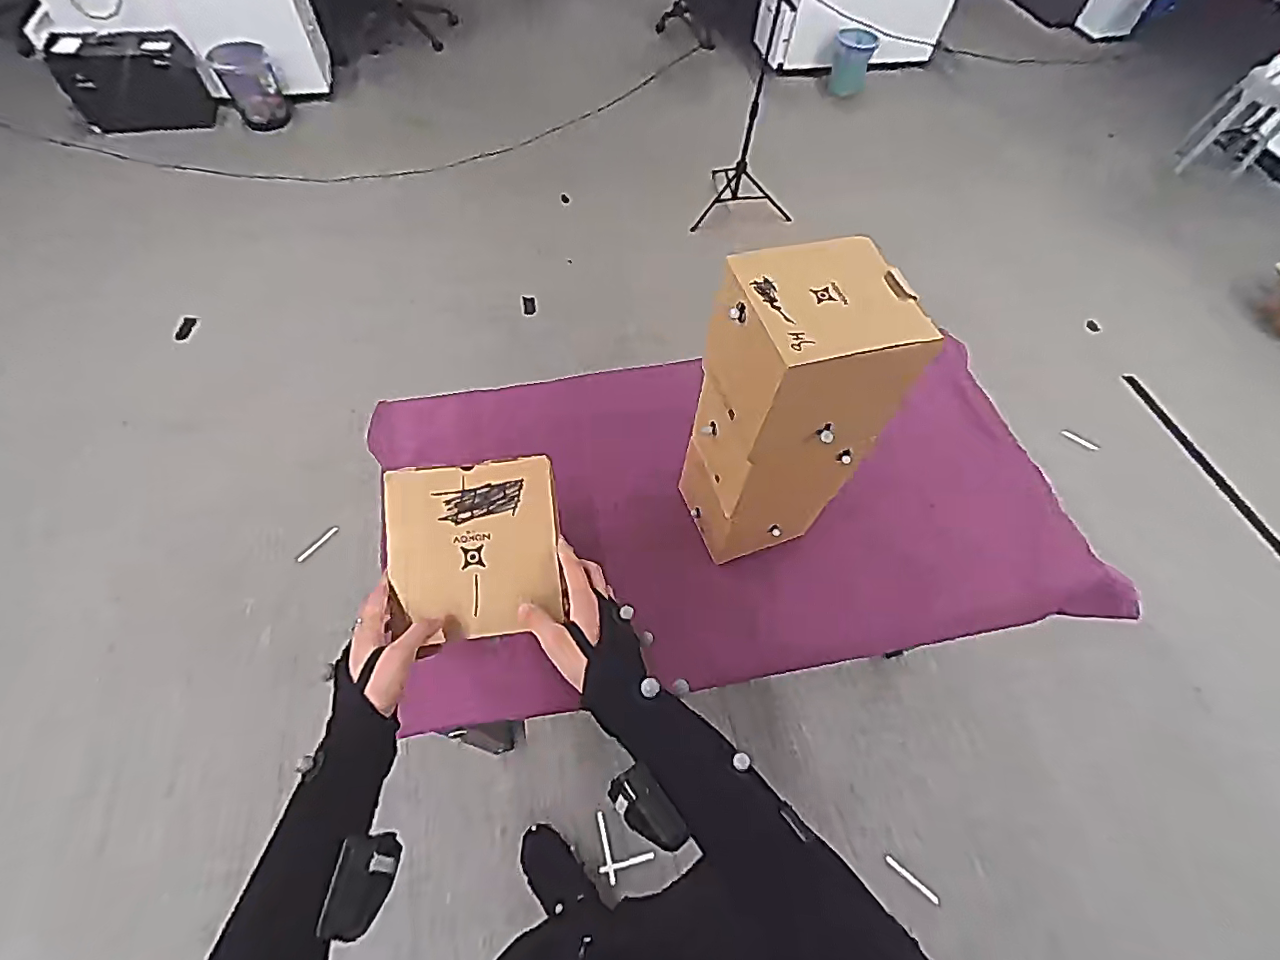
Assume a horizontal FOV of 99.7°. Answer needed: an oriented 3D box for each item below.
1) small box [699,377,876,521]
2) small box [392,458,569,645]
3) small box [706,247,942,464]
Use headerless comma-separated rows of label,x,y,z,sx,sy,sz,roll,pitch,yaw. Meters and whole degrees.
small box,0.191,-0.059,0.770,0.179,0.176,0.168,-12,61,-11
small box,-0.171,0.083,0.617,0.168,0.176,0.179,-6,80,-7
small box,0.193,-0.139,0.627,0.179,0.176,0.168,-11,60,-12
